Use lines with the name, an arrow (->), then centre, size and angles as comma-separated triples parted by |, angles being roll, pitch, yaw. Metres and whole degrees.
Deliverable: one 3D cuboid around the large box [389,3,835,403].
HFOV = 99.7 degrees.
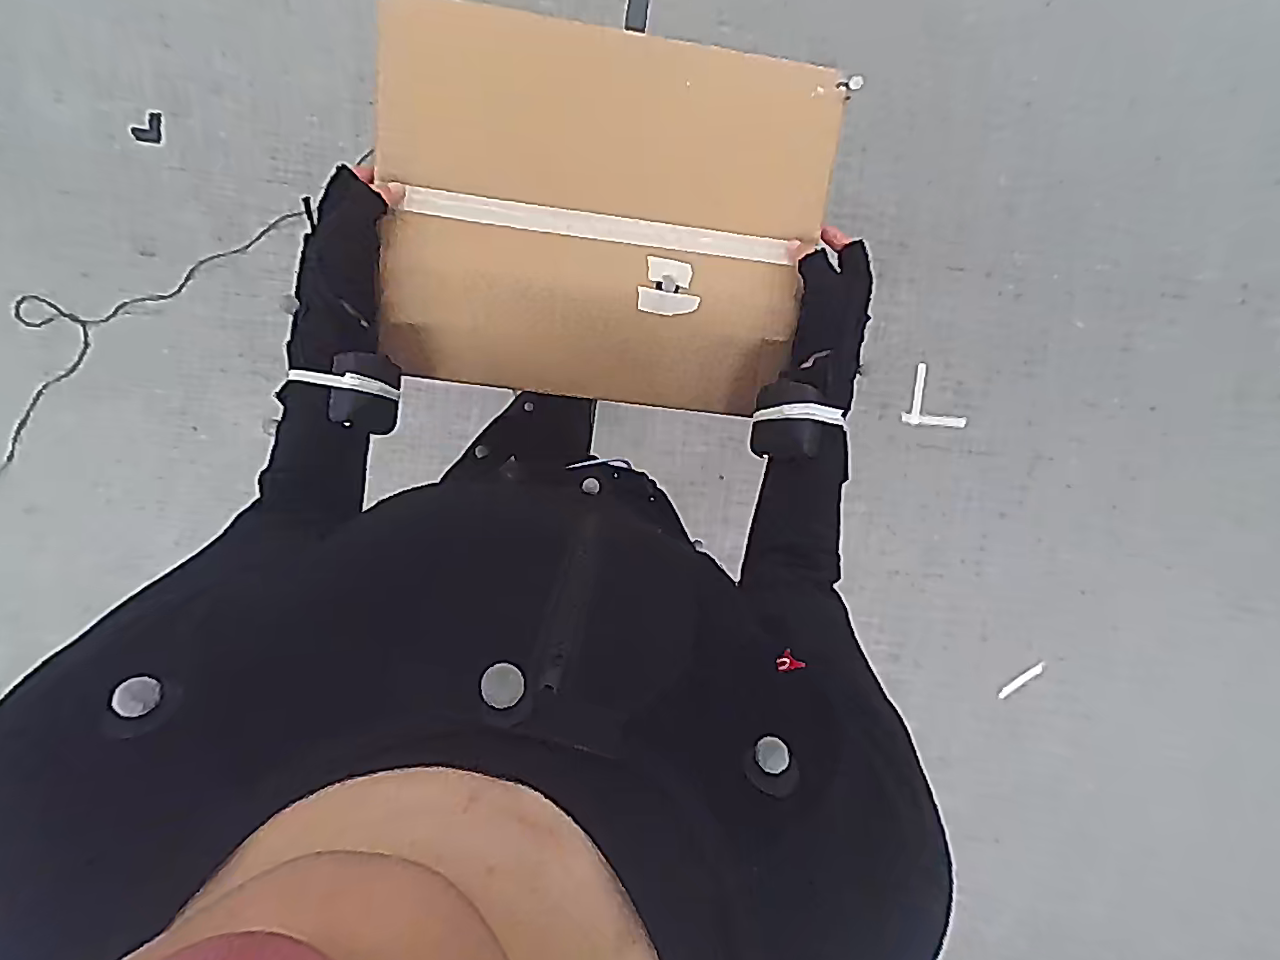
large box -> -0.044, -0.279, 0.654 | 0.408, 0.320, 0.320 | 5, 105, -6
